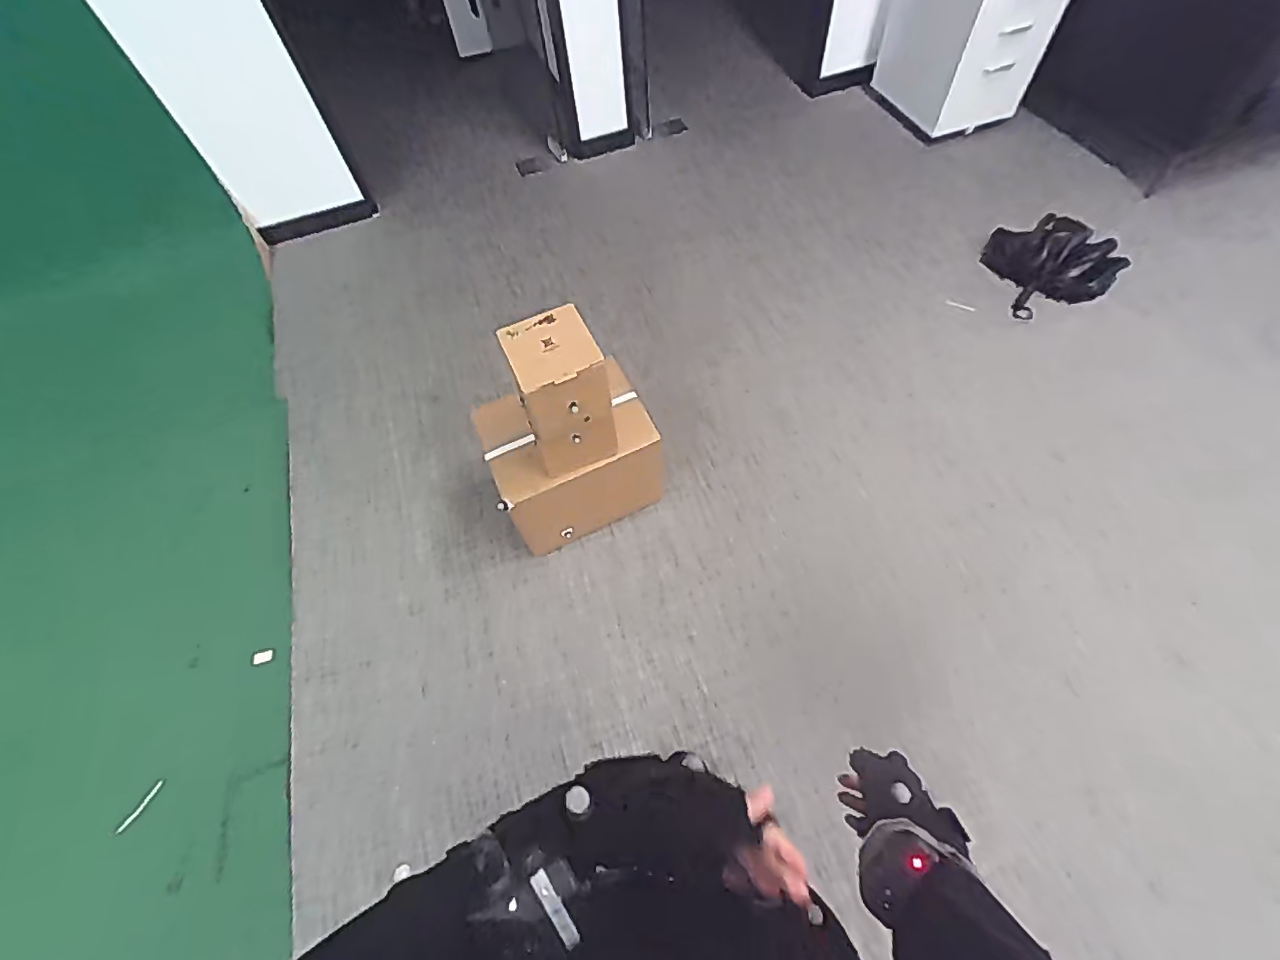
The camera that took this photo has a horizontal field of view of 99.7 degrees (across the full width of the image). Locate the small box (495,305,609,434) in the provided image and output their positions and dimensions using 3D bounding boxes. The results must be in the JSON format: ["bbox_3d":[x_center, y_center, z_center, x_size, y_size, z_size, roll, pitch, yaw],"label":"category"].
[{"bbox_3d":[-0.171,-0.215,1.102,0.168,0.176,0.179,-23,63,-9],"label":"small box"}]

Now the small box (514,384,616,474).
[{"bbox_3d":[-0.167,-0.139,1.246,0.179,0.176,0.168,-21,63,-9],"label":"small box"}]
